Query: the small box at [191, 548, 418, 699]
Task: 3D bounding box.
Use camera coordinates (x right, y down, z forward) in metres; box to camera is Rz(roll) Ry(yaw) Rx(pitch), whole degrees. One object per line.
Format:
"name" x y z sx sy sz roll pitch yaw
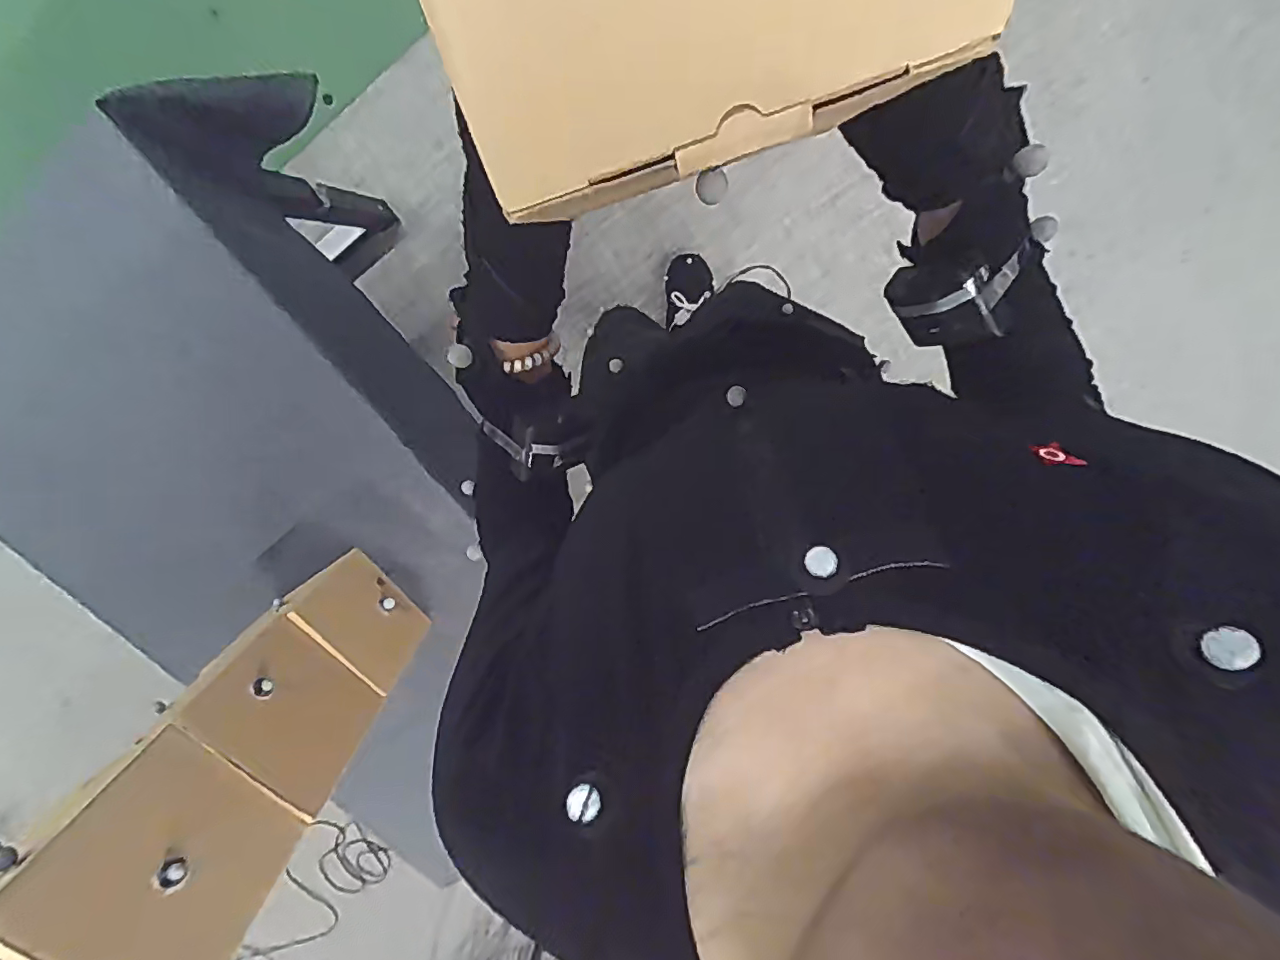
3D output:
"small box" -0.452 0.229 0.762 0.179 0.176 0.168 -32 108 11

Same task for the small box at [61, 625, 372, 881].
"small box" -0.453 0.292 0.611 0.168 0.176 0.179 -34 107 13

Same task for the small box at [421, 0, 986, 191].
"small box" 0.004 -0.228 0.206 0.168 0.176 0.179 -15 115 7
